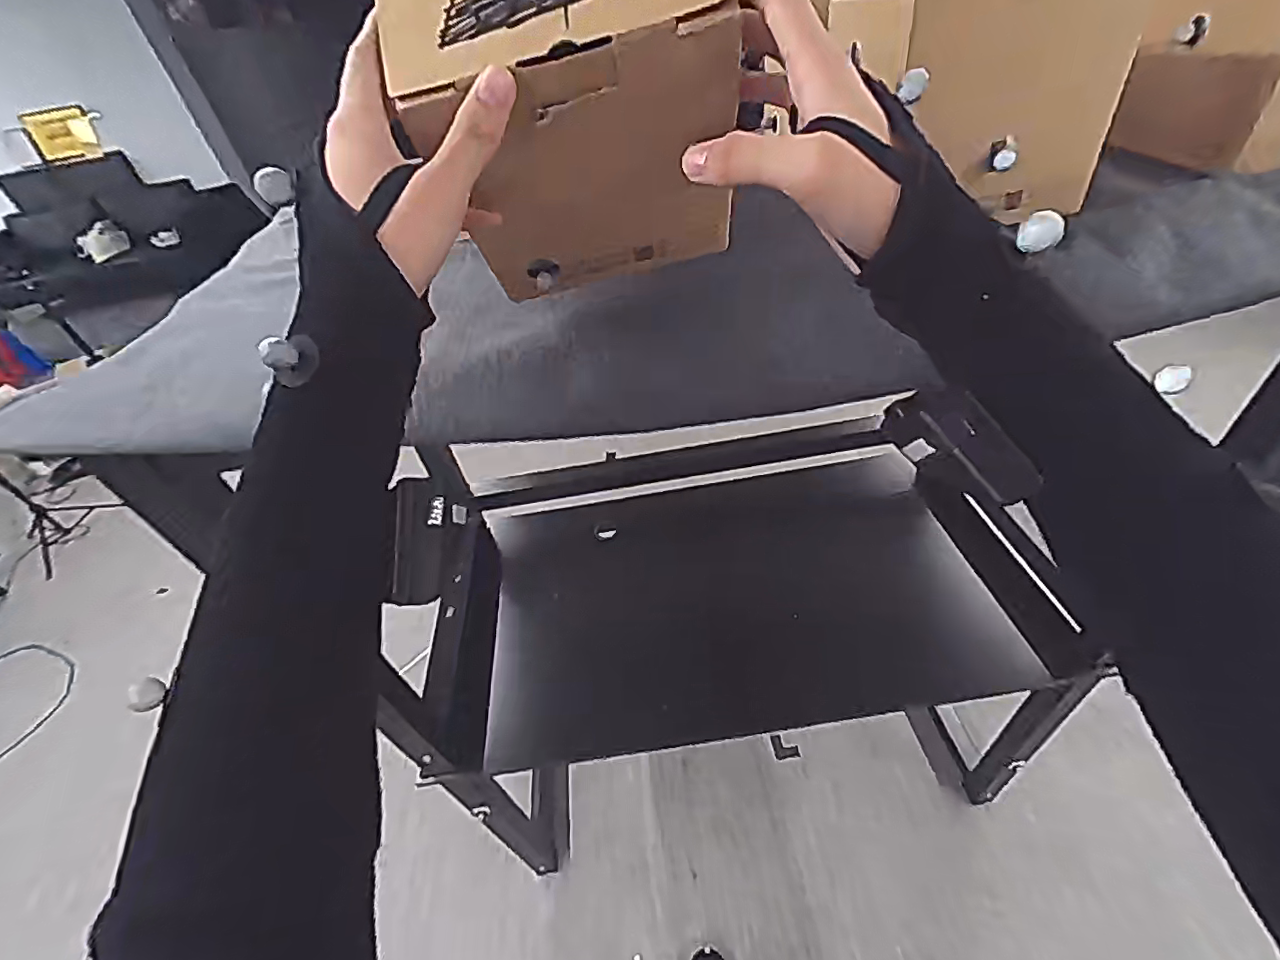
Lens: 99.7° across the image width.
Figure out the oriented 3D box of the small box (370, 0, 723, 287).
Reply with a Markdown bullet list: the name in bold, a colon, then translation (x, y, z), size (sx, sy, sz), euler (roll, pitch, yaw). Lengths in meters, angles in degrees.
- **small box**: translation (-0.047, -0.247, 0.343), size (0.168, 0.176, 0.179), euler (-13, 75, 3)

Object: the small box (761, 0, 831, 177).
- **small box**: translation (0.250, -0.487, 0.653), size (0.179, 0.176, 0.168), euler (-8, 41, 2)

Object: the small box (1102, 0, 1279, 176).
- **small box**: translation (0.565, -0.382, 0.470), size (0.168, 0.176, 0.179), euler (-8, 41, 4)

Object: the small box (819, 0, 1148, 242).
- **small box**: translation (0.263, -0.322, 0.465), size (0.168, 0.176, 0.179), euler (-9, 40, 3)
